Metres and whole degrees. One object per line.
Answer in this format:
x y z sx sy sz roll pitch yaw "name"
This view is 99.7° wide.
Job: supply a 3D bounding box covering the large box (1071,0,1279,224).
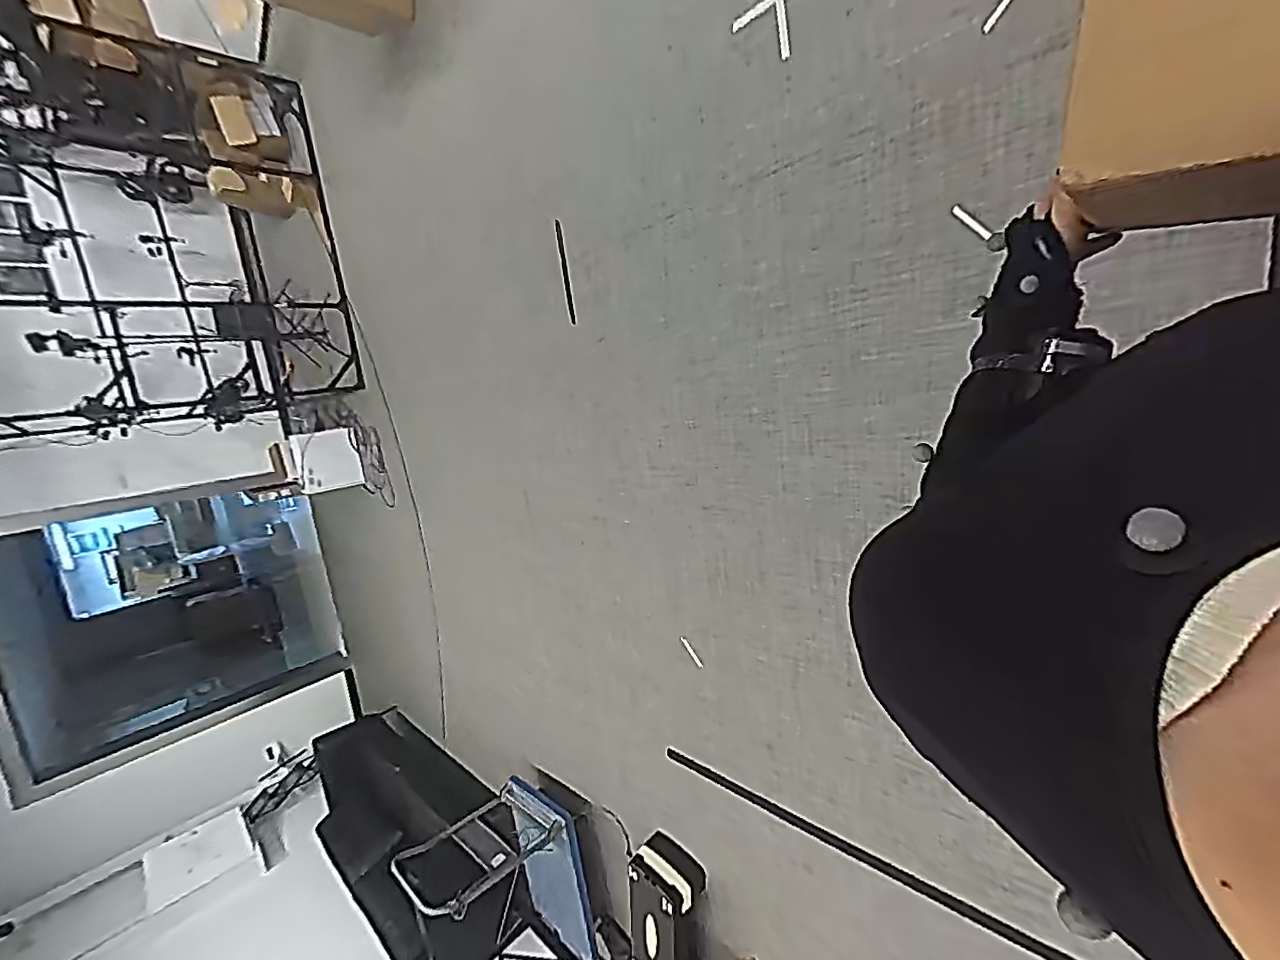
0.434 -0.303 0.195 0.408 0.320 0.320 10 112 39 "large box"
